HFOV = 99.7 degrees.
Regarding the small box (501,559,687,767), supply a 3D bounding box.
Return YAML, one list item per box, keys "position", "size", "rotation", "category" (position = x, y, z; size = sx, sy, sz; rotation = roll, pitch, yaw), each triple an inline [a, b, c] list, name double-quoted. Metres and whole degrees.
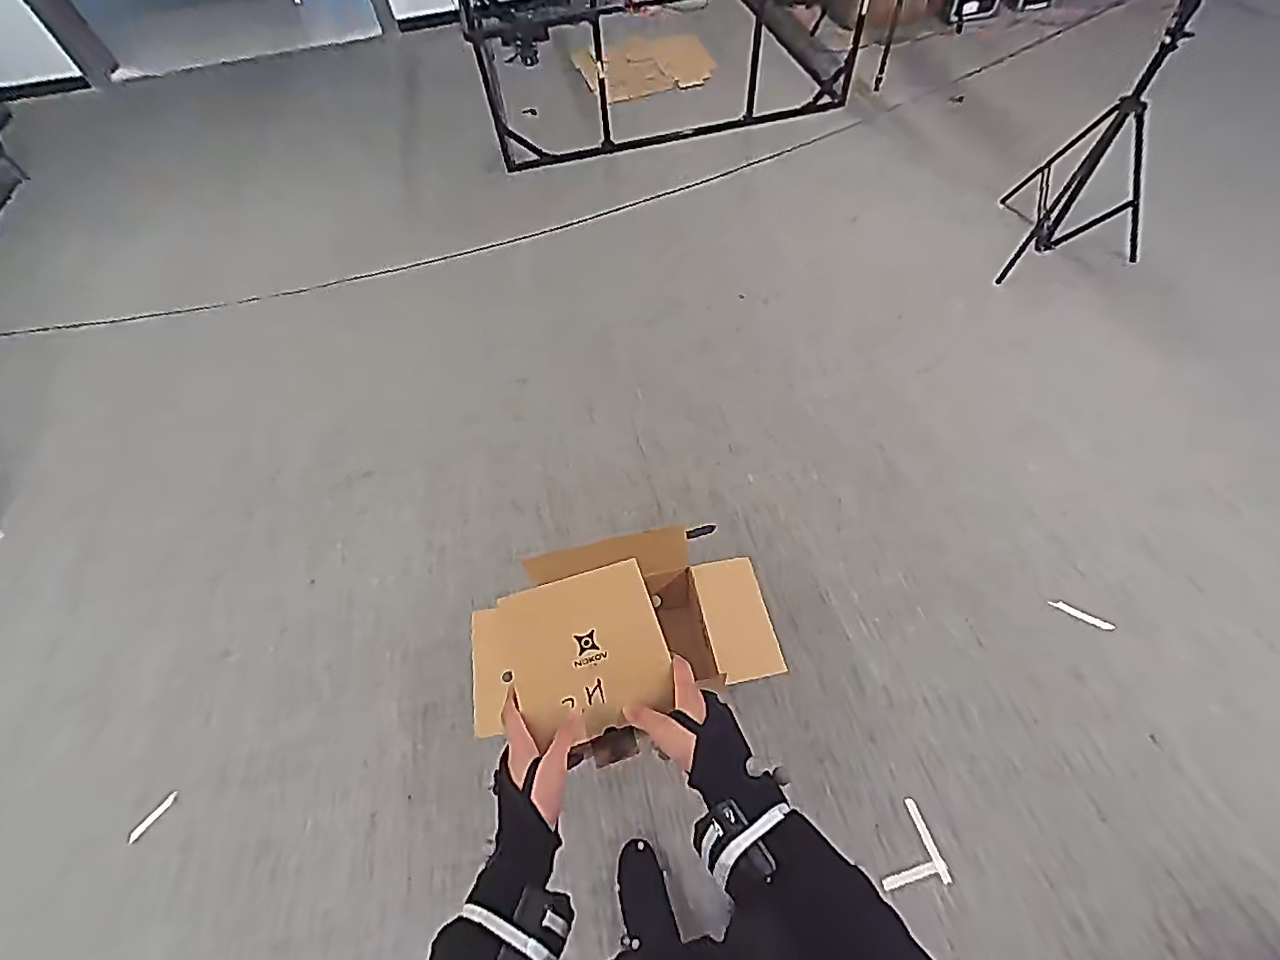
- position: [-0.057, 0.222, 0.645]
  size: [0.168, 0.176, 0.179]
  rotation: [-15, 62, -10]
  category: "small box"
